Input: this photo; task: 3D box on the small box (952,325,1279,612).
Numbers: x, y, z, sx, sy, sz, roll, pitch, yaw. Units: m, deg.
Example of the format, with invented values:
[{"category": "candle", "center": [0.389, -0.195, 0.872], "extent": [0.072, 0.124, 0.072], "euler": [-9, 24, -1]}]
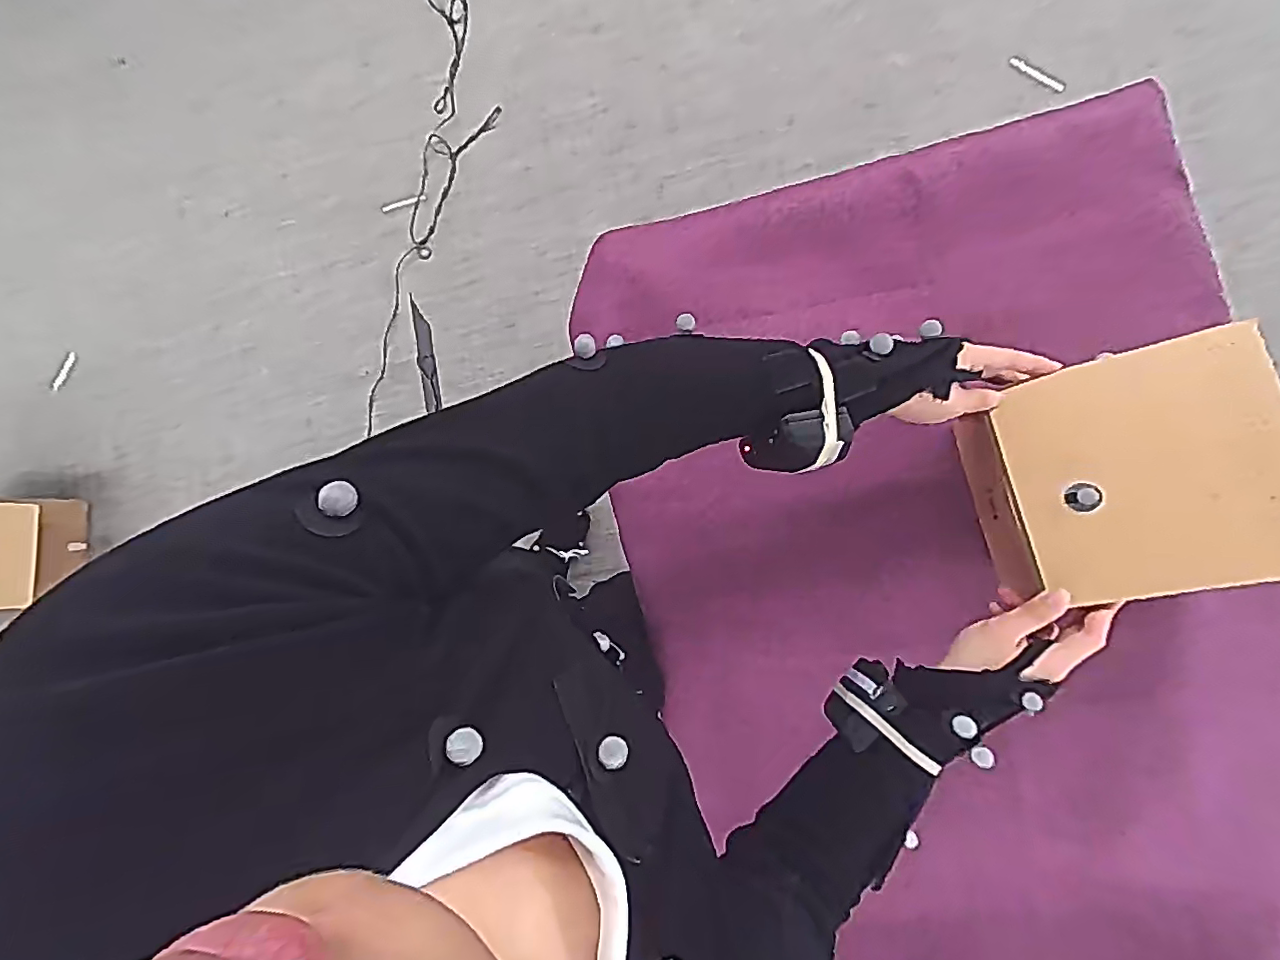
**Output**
[{"category": "small box", "center": [0.389, -0.001, 0.452], "extent": [0.176, 0.168, 0.179], "euler": [-15, 80, 21]}]
